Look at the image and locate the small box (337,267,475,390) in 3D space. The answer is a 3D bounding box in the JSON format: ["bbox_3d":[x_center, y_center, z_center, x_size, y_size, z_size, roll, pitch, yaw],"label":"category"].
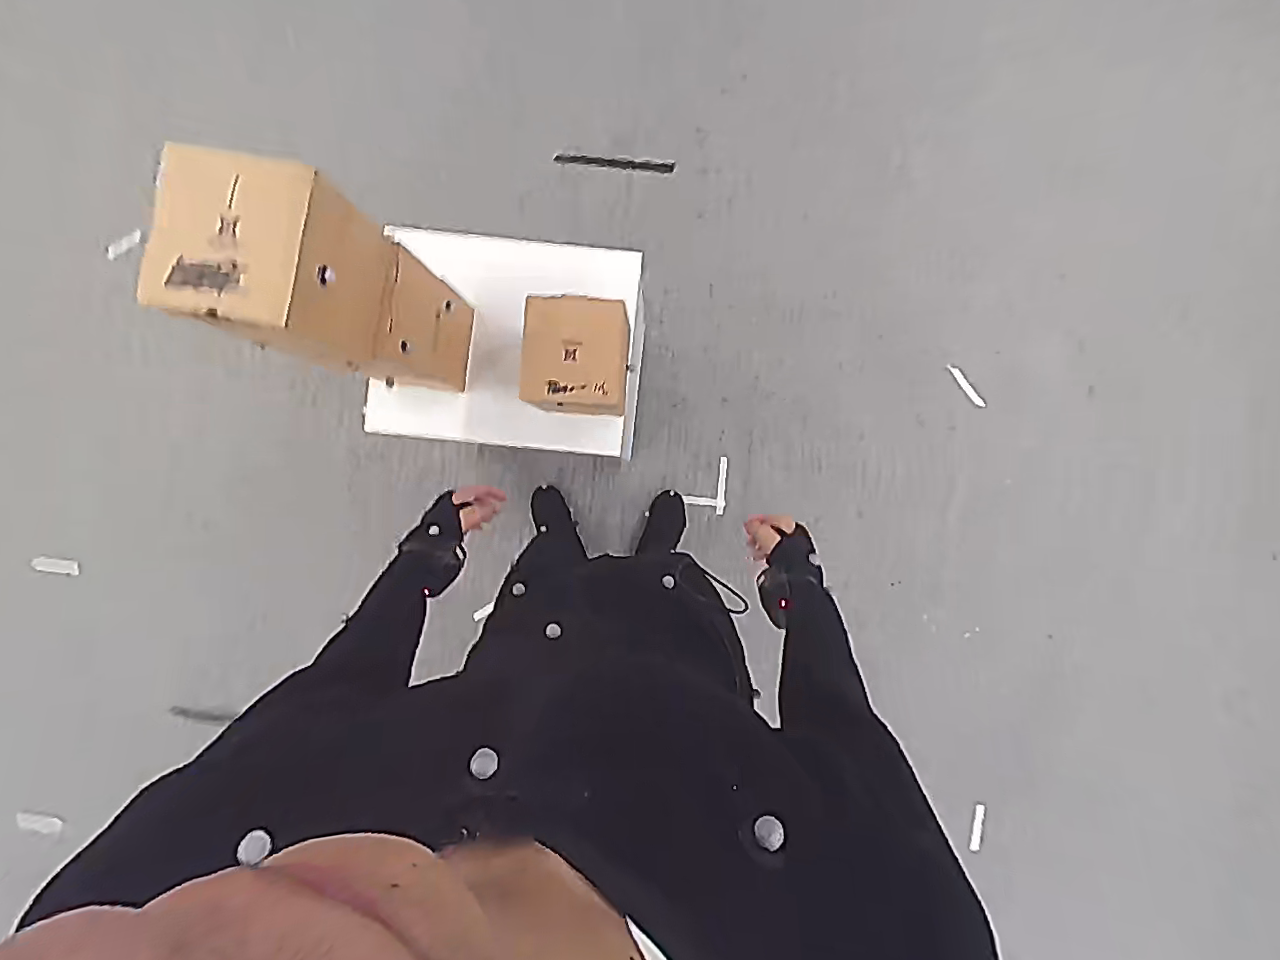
[{"bbox_3d":[-0.409,-0.266,0.971,0.168,0.176,0.179,7,90,1],"label":"small box"}]

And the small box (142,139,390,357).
[{"bbox_3d":[-0.424,-0.257,0.642,0.168,0.176,0.179,10,90,1],"label":"small box"}]

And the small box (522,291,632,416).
[{"bbox_3d":[-0.104,-0.217,0.963,0.168,0.176,0.179,4,90,3],"label":"small box"}]
